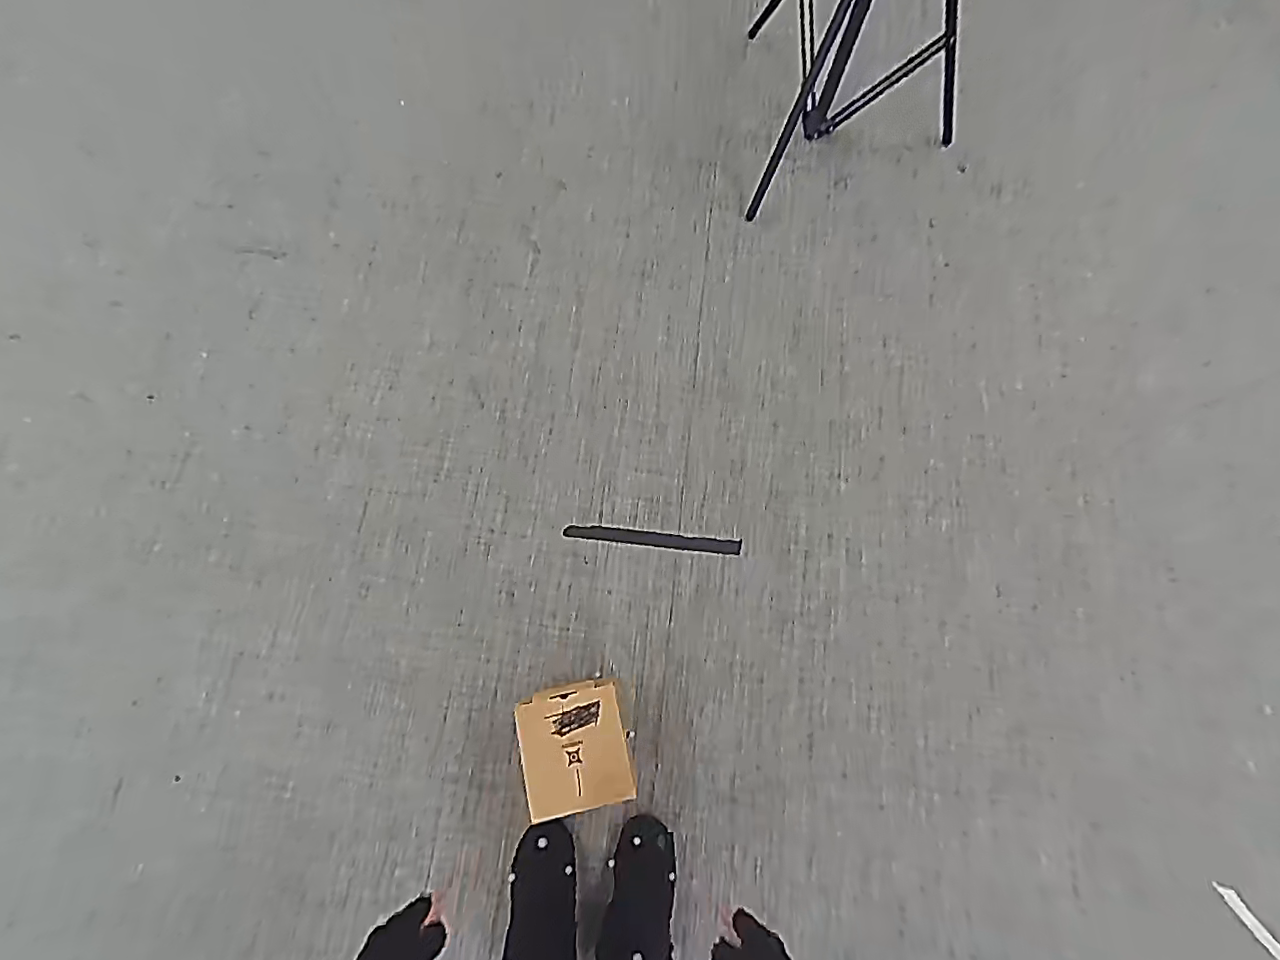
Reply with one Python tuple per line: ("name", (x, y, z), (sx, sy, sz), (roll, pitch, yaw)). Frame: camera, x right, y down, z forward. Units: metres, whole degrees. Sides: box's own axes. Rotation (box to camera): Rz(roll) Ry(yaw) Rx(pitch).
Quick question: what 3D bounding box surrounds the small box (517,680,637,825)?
("small box", (-0.104, 0.448, 0.921), (0.168, 0.176, 0.179), (-12, 75, -5))
